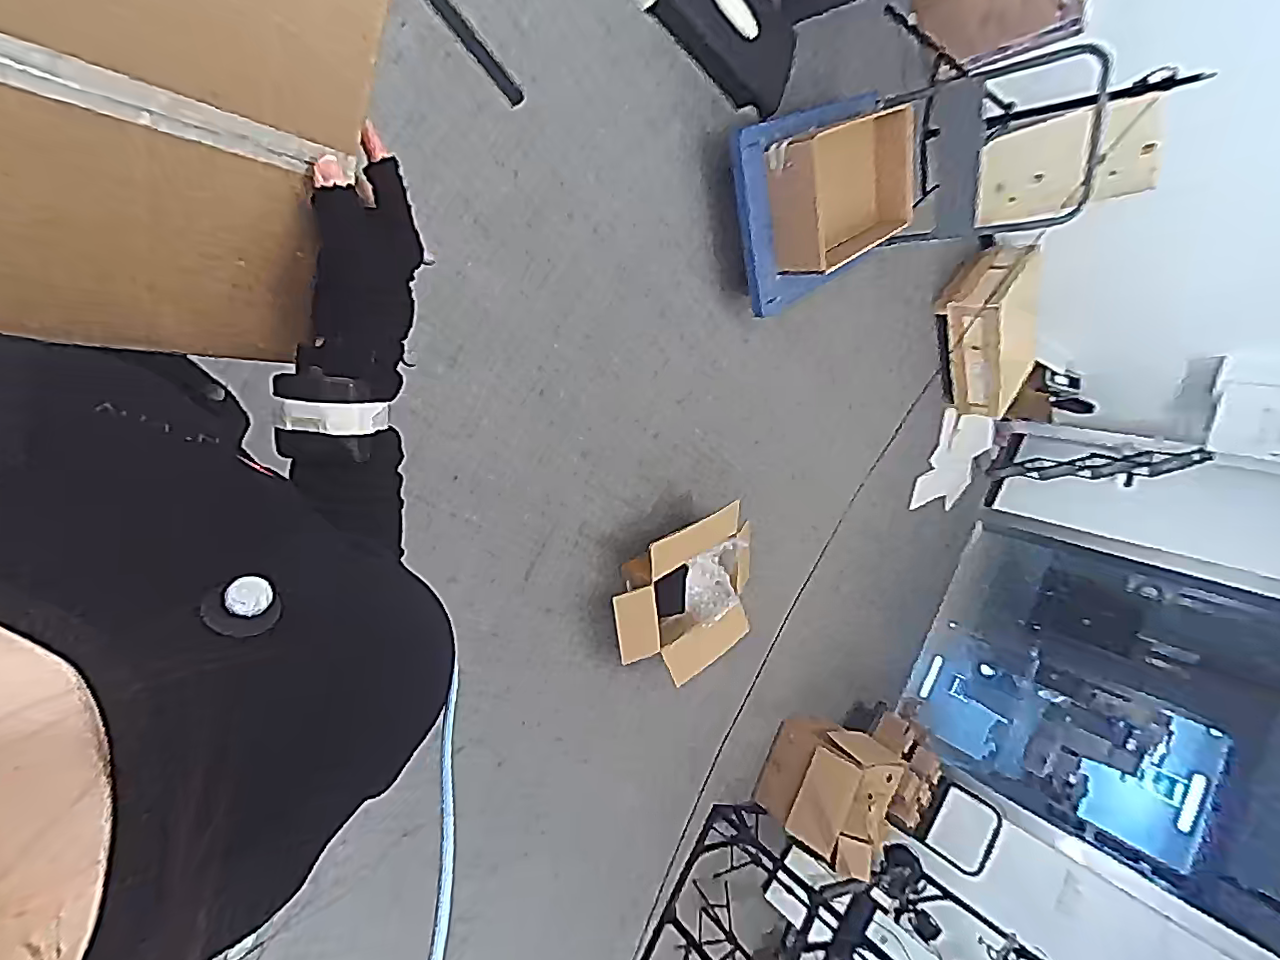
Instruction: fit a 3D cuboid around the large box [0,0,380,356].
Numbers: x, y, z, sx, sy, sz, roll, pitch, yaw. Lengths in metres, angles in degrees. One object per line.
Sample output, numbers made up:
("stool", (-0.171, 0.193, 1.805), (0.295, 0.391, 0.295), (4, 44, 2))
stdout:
("large box", (-0.413, -0.299, 0.285), (0.408, 0.320, 0.320), (-4, 140, -46))
